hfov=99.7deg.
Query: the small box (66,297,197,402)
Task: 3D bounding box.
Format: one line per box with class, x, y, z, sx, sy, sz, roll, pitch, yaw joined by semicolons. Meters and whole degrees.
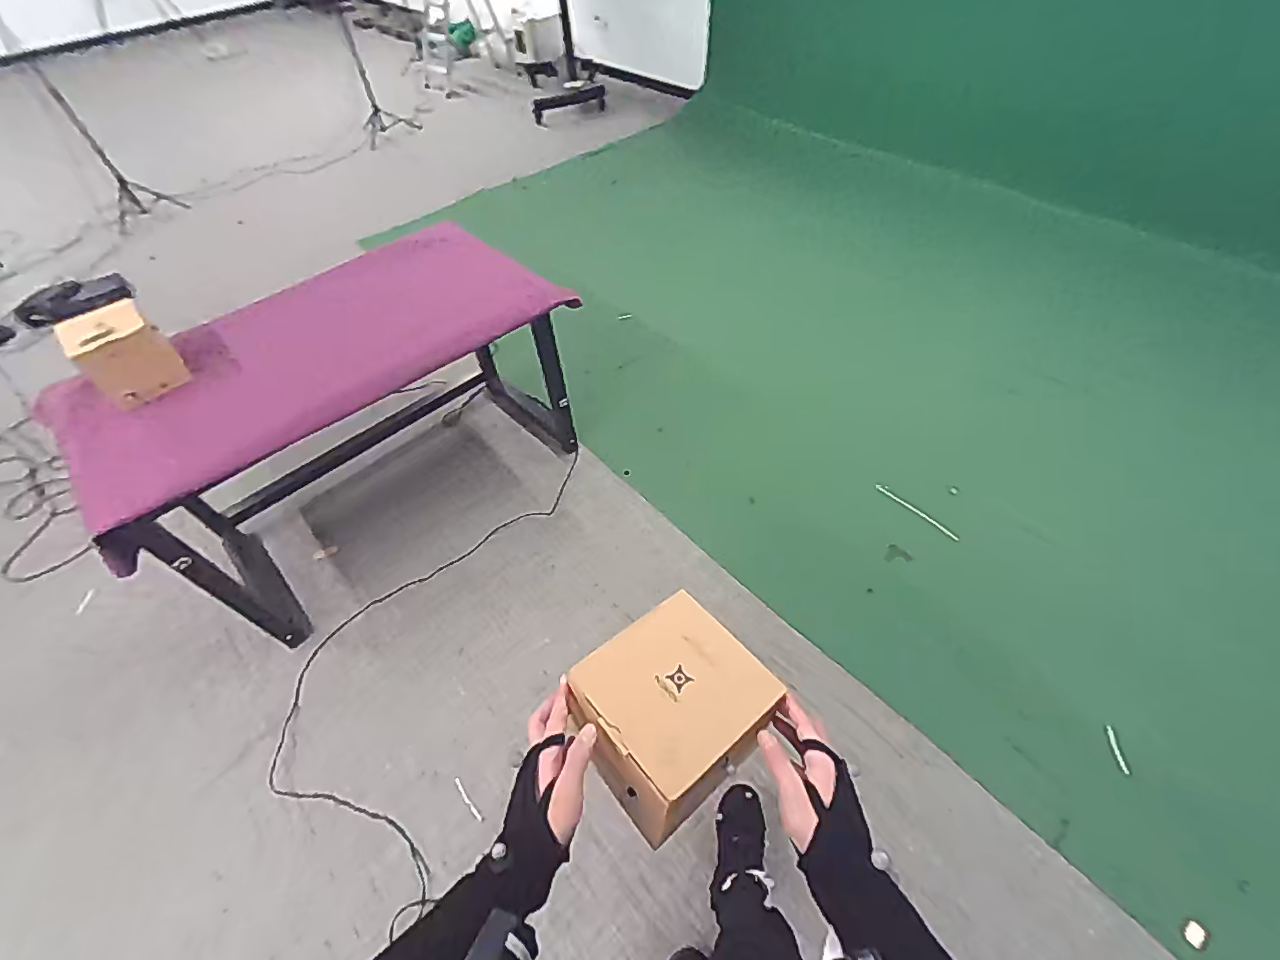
small box;-1.268;-0.321;1.359;0.168;0.176;0.179;-37;58;-24
